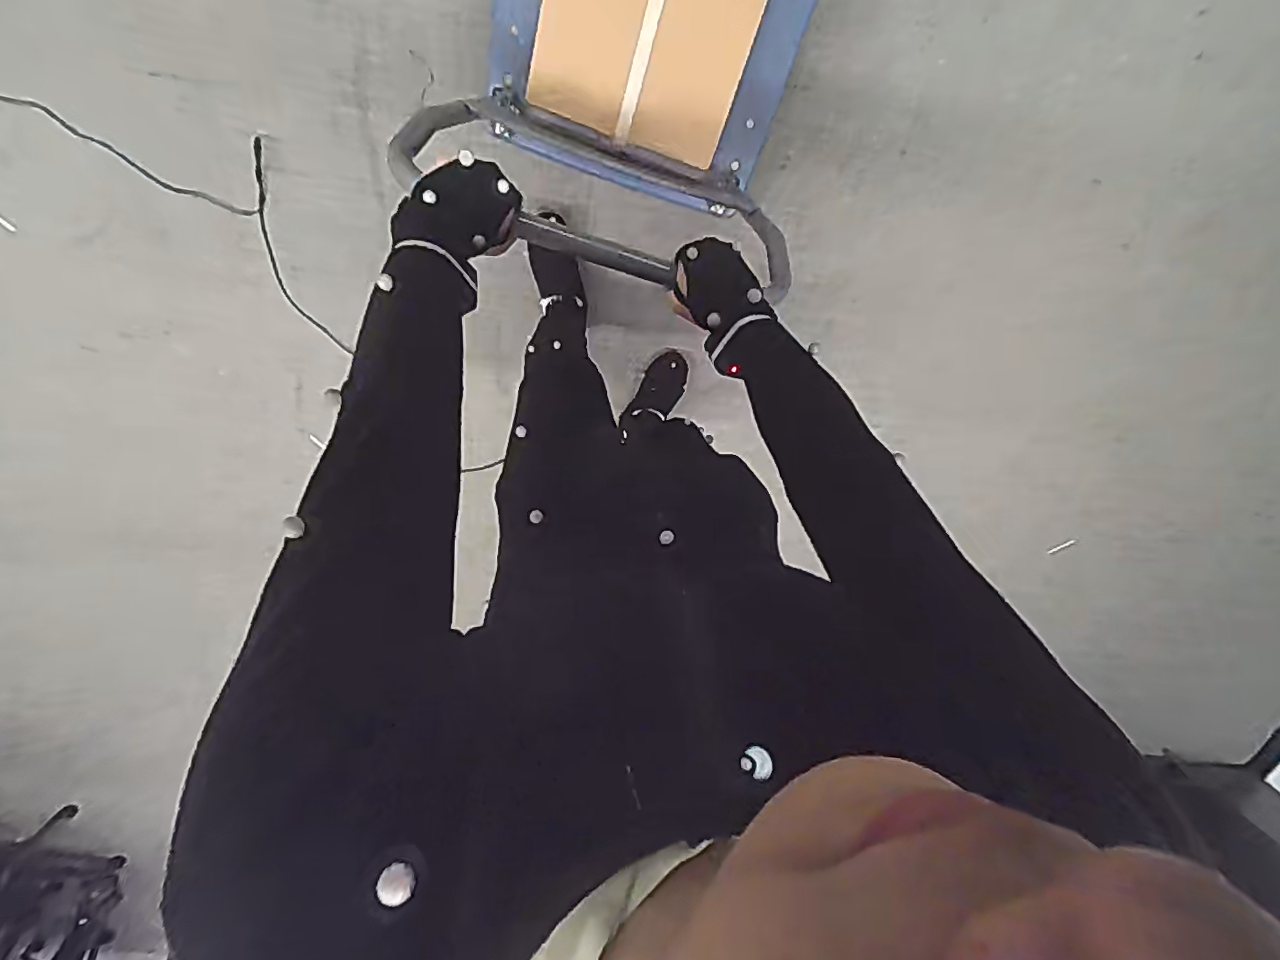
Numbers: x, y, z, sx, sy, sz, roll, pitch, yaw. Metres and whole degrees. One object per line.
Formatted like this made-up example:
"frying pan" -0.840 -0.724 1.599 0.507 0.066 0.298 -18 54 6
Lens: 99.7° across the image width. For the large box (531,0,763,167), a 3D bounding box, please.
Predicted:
"large box" 0.025 -0.803 0.922 0.320 0.320 0.408 15 120 -11
